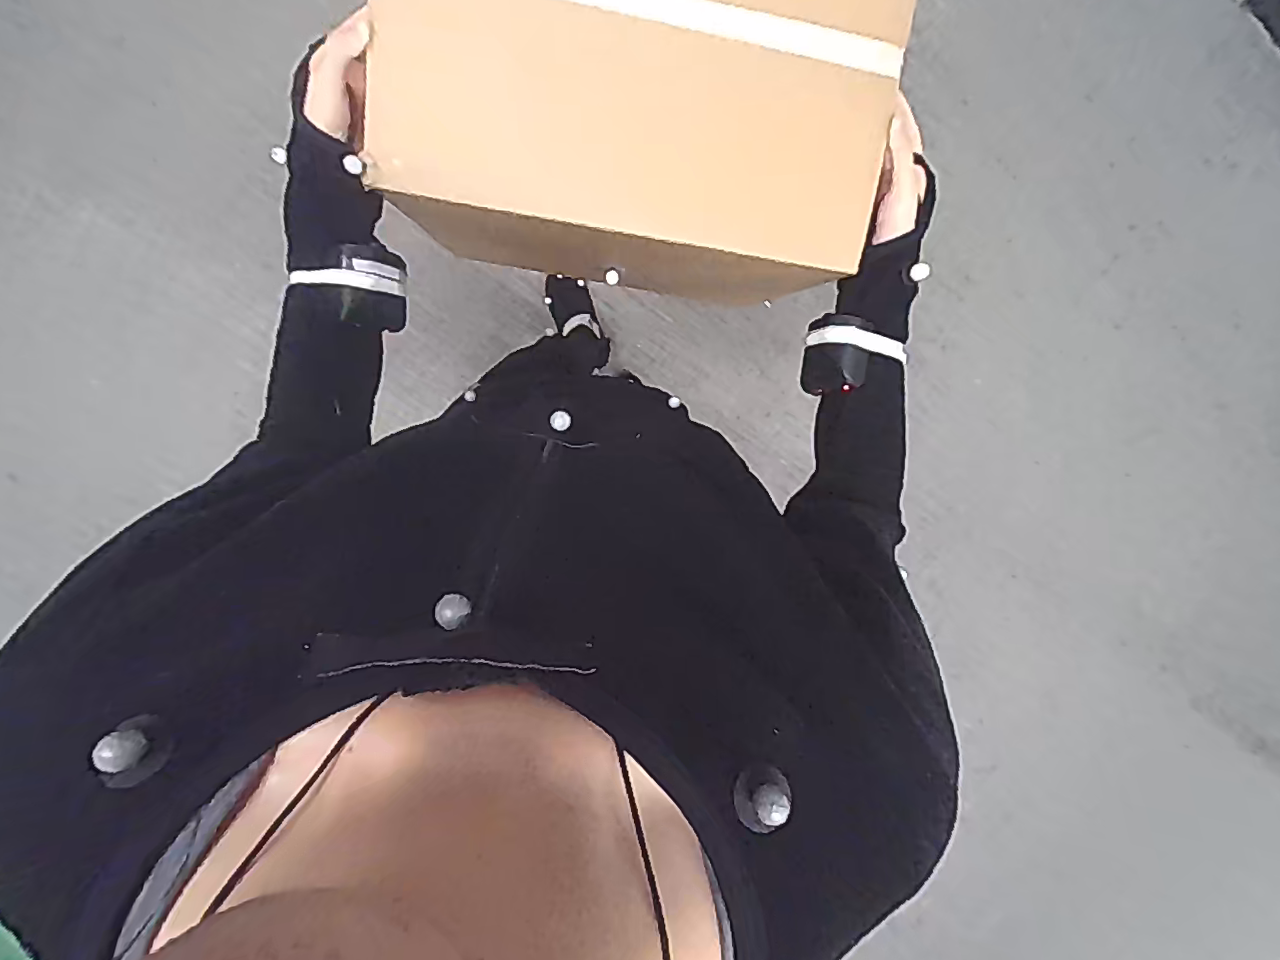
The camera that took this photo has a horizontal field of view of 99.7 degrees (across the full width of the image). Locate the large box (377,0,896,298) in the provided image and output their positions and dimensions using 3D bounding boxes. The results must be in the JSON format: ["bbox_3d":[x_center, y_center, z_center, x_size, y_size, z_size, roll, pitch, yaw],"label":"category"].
[{"bbox_3d":[-0.010,-0.384,0.567,0.408,0.320,0.320,6,101,-7],"label":"large box"}]
